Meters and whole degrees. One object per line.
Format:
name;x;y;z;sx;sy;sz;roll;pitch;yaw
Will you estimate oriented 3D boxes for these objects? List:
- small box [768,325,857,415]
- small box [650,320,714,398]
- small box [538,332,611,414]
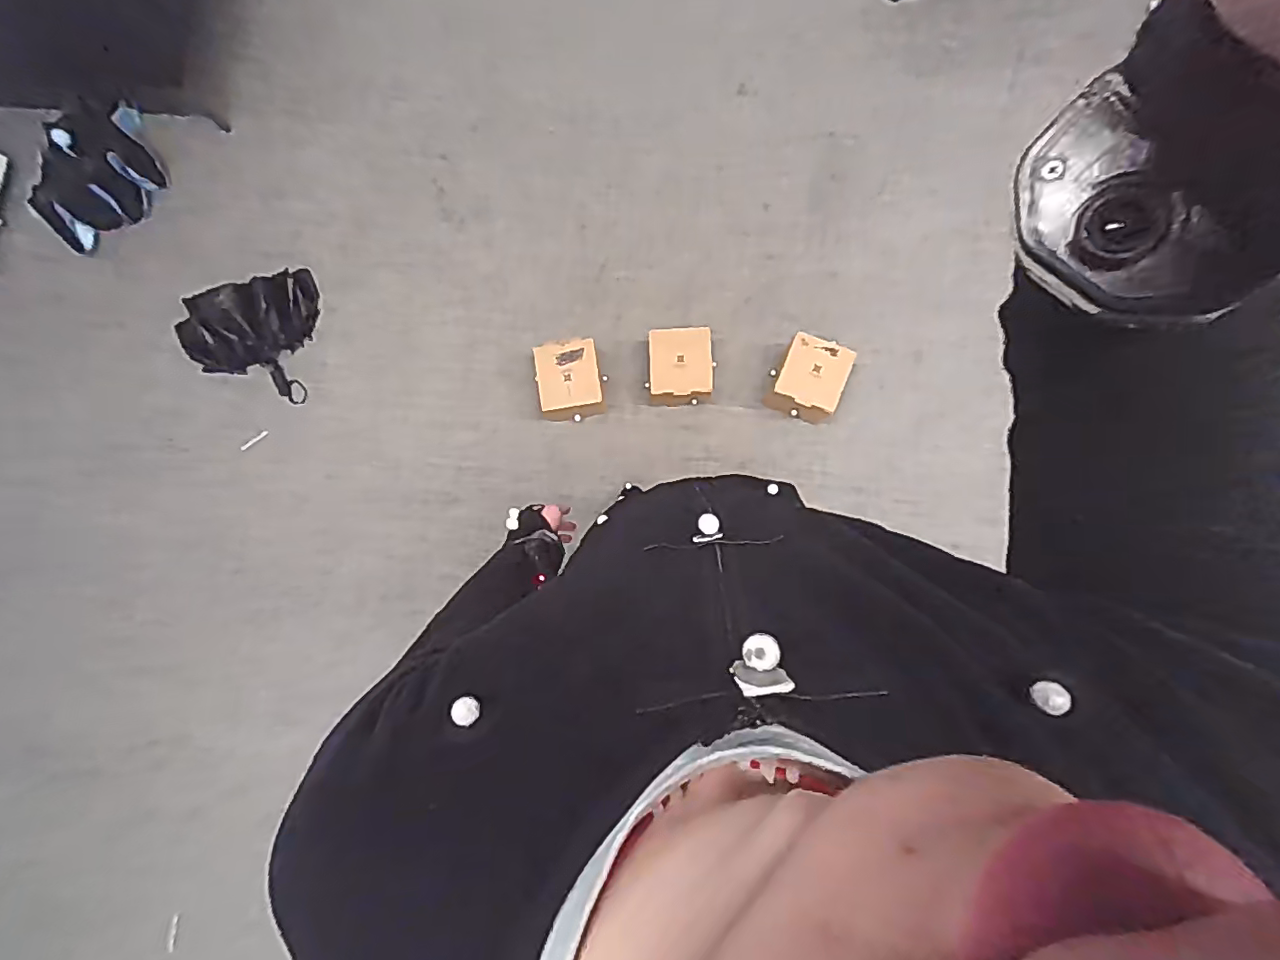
small box;0.463;-0.291;1.479;0.168;0.176;0.179;23;89;5
small box;0.116;-0.328;1.505;0.168;0.176;0.179;-3;85;2
small box;-0.180;-0.295;1.517;0.168;0.176;0.179;-9;87;3
